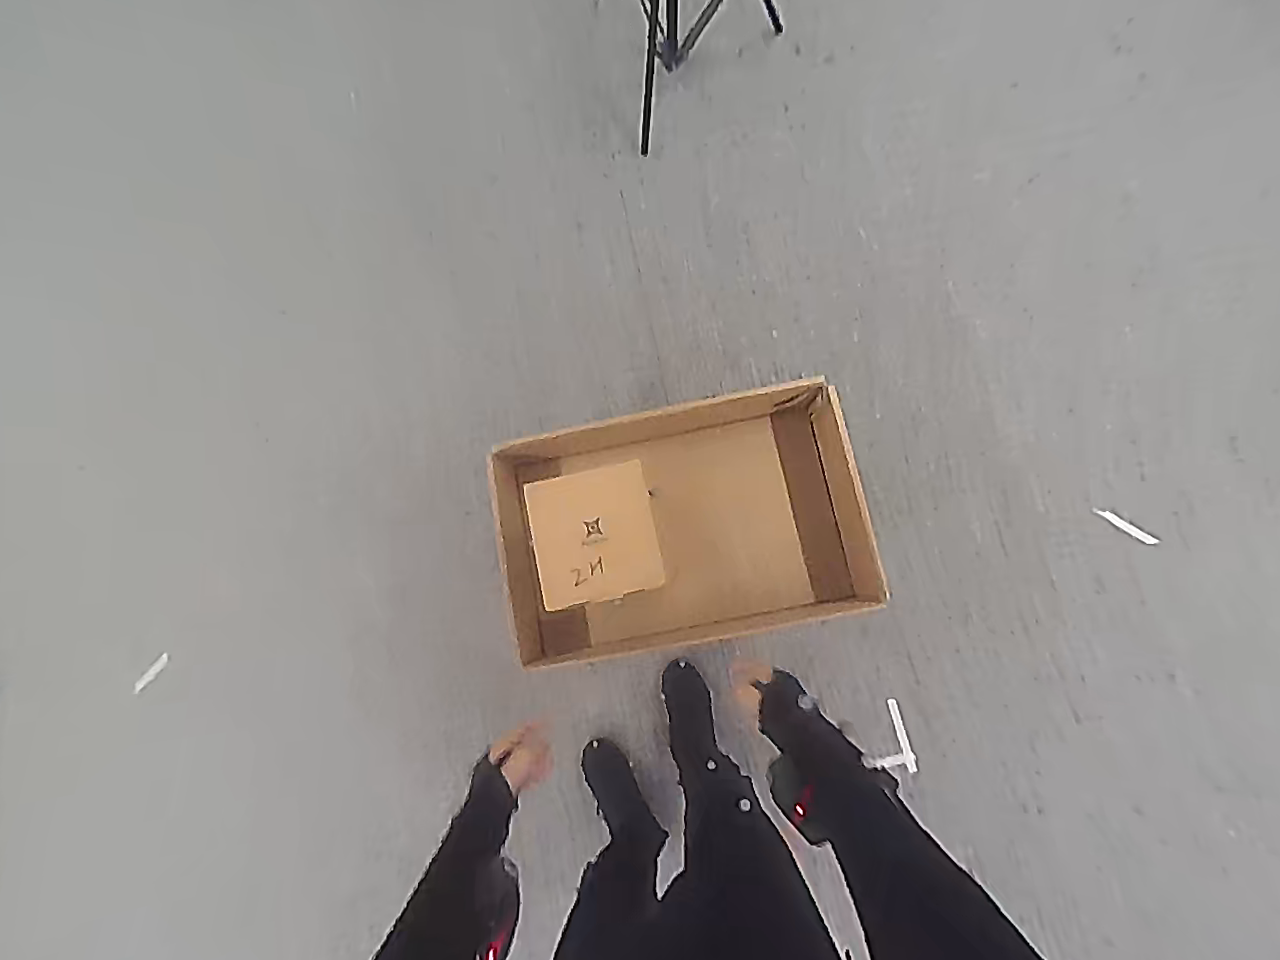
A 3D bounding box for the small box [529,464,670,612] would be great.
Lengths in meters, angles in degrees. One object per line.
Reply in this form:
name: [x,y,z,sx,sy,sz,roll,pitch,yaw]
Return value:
small box: [-0.053,0.090,0.802,0.168,0.176,0.179,-12,80,3]
